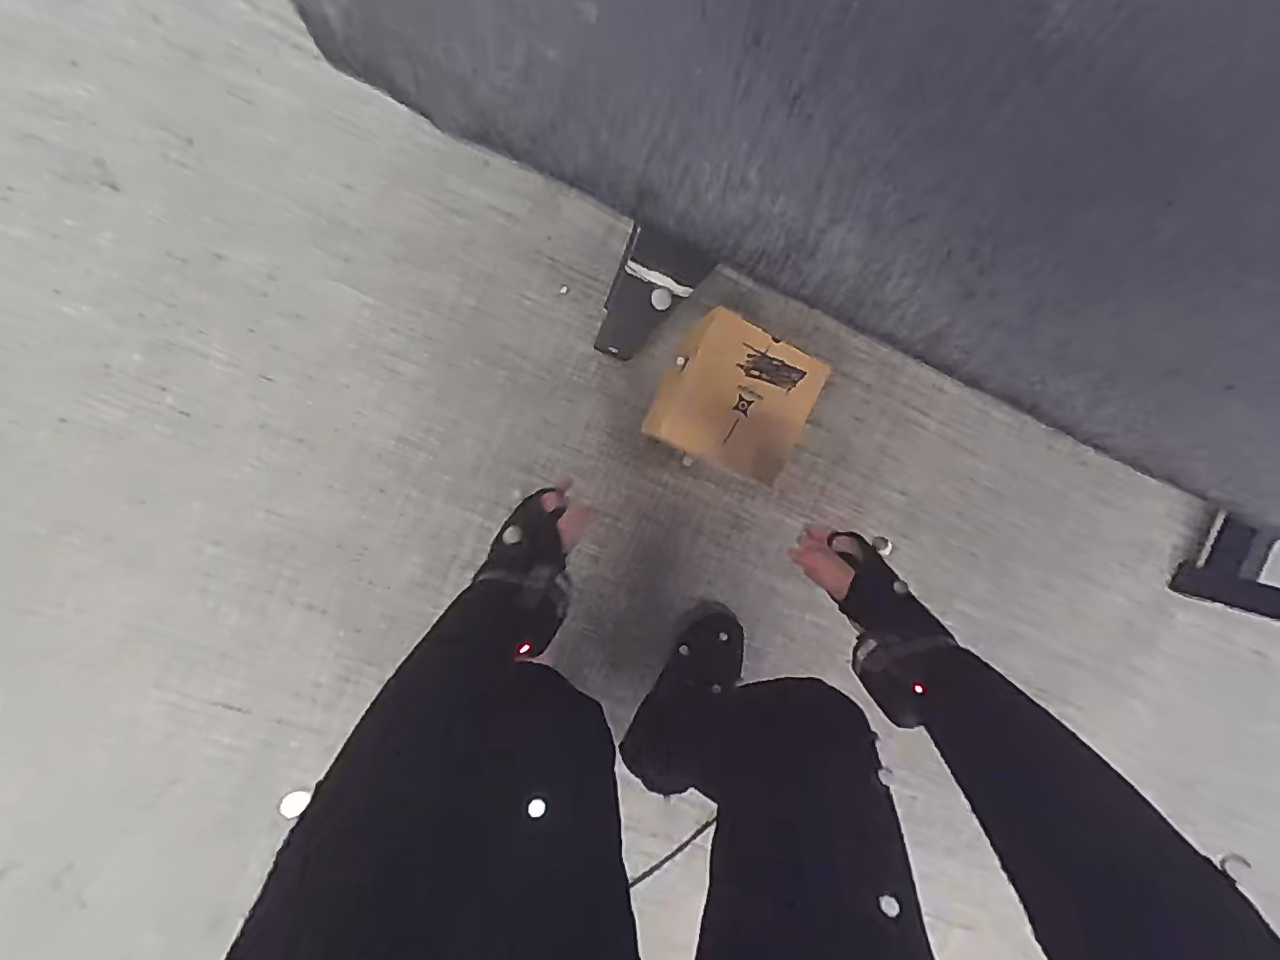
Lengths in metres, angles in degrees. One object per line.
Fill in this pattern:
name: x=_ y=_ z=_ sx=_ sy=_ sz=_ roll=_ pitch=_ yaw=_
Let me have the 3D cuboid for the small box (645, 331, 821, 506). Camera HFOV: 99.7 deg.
small box: x=0.118 y=-0.085 z=0.769 sx=0.168 sy=0.176 sz=0.179 roll=25 pitch=92 yaw=-8
